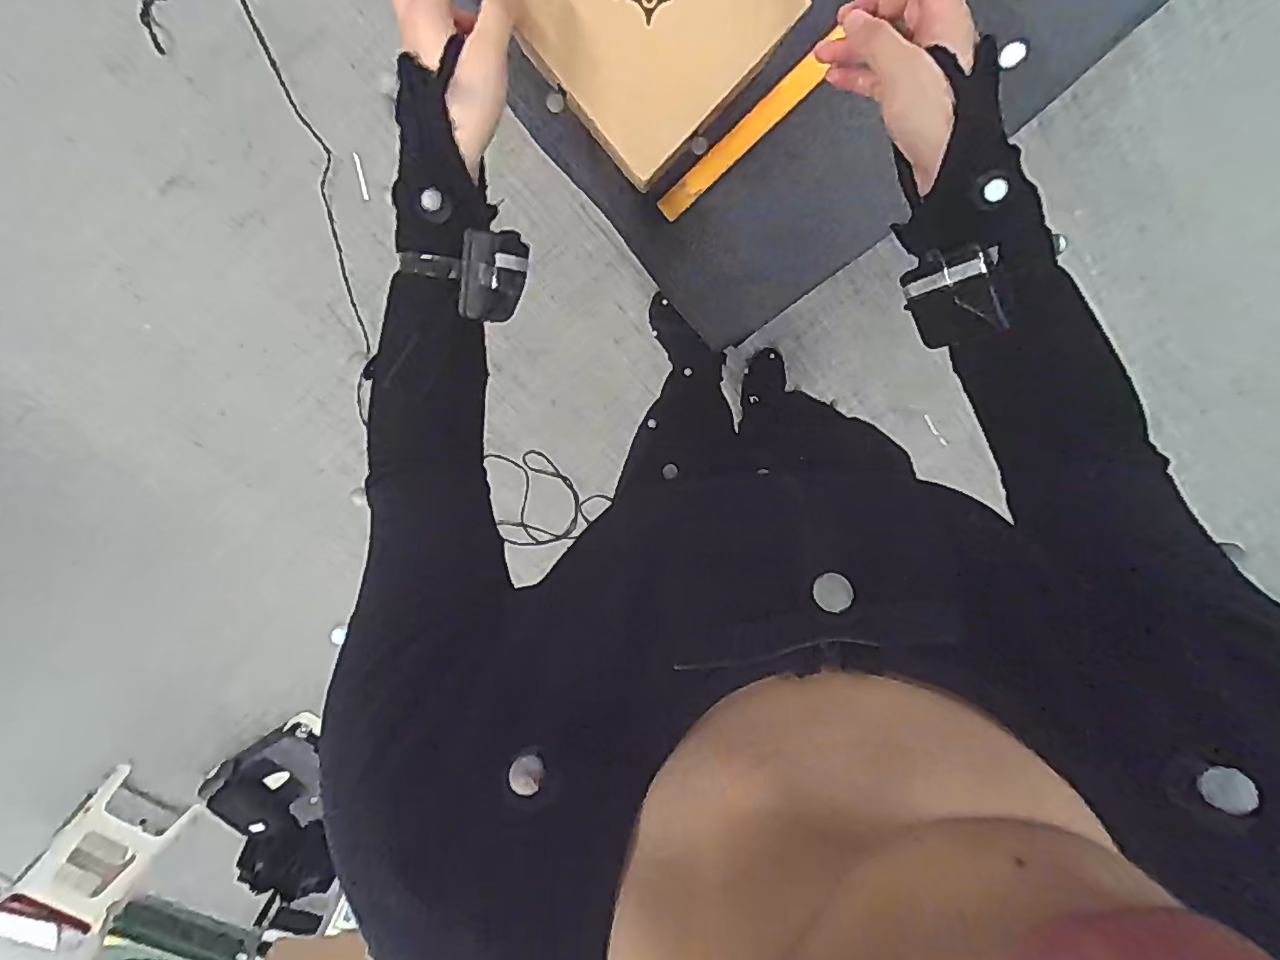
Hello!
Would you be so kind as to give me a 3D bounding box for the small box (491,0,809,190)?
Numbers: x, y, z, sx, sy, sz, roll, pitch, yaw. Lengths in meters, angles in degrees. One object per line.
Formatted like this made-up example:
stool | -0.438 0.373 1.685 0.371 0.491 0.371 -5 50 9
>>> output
small box | 0.008 -0.375 0.454 0.168 0.176 0.179 -40 108 18
